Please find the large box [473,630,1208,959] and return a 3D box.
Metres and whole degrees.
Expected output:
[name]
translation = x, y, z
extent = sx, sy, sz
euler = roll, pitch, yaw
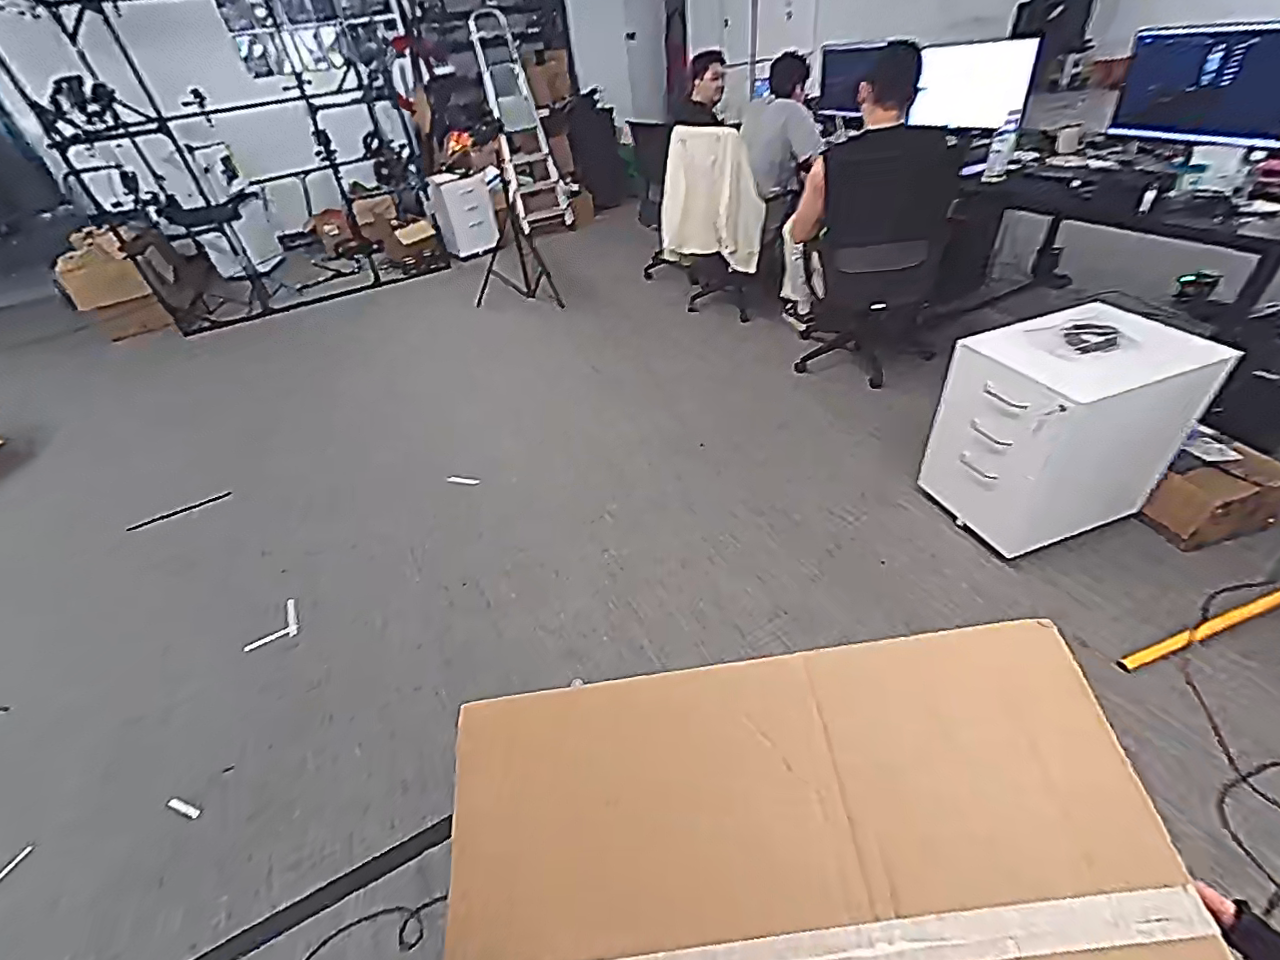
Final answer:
[large box]
translation = 0.115, 0.344, 0.427
extent = 0.408, 0.320, 0.320
euler = -10, 59, 2
